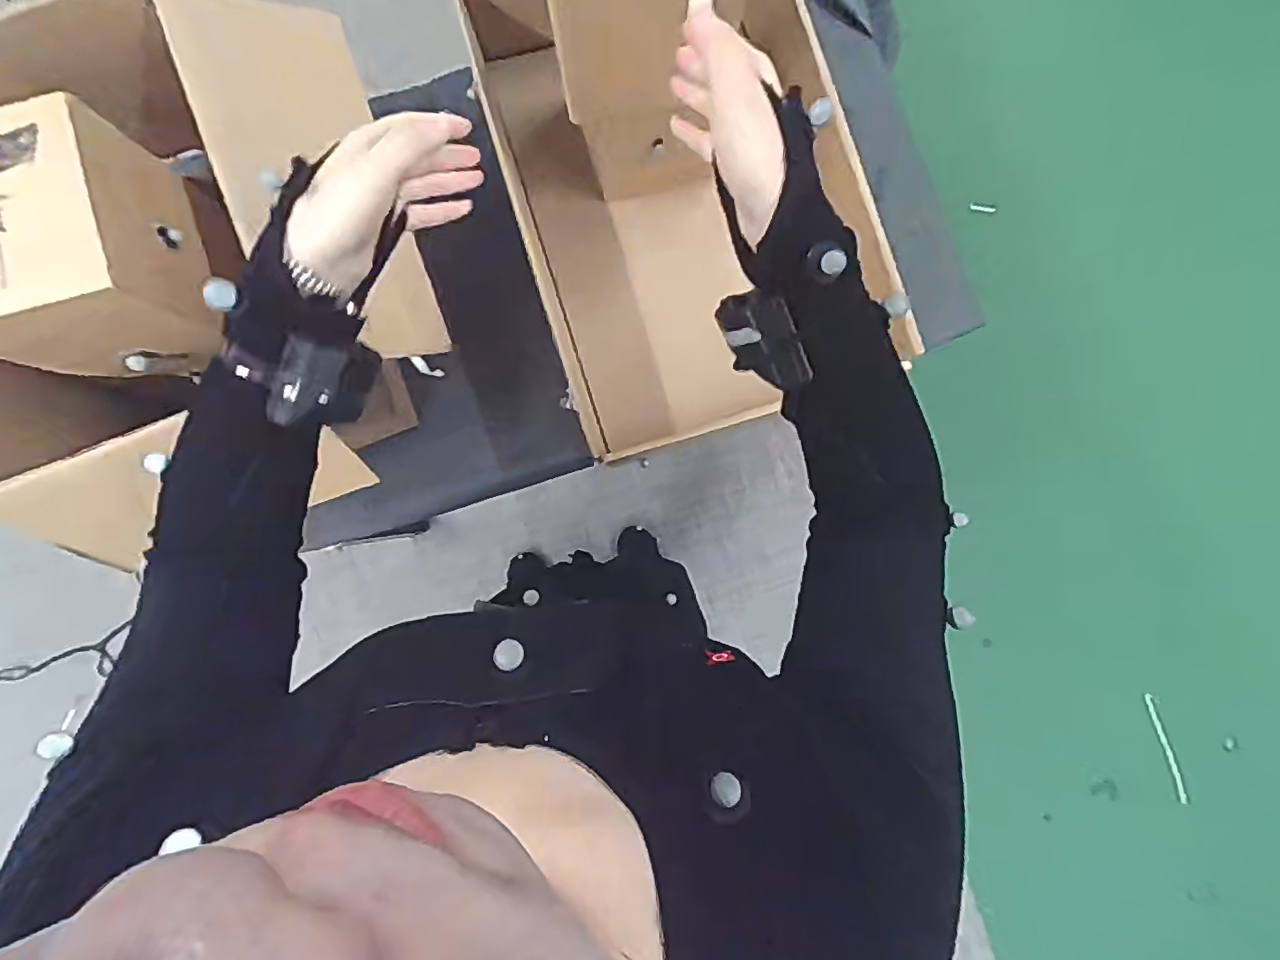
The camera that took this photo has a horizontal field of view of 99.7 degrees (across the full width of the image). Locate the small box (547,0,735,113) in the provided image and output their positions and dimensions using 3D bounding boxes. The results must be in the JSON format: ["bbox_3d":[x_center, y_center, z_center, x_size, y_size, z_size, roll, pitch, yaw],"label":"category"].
[{"bbox_3d":[-0.007,-0.494,0.521,0.179,0.176,0.168,-11,89,-2],"label":"small box"}]

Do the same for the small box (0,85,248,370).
[{"bbox_3d":[-0.532,-0.224,0.524,0.168,0.176,0.179,-15,91,-2],"label":"small box"}]
